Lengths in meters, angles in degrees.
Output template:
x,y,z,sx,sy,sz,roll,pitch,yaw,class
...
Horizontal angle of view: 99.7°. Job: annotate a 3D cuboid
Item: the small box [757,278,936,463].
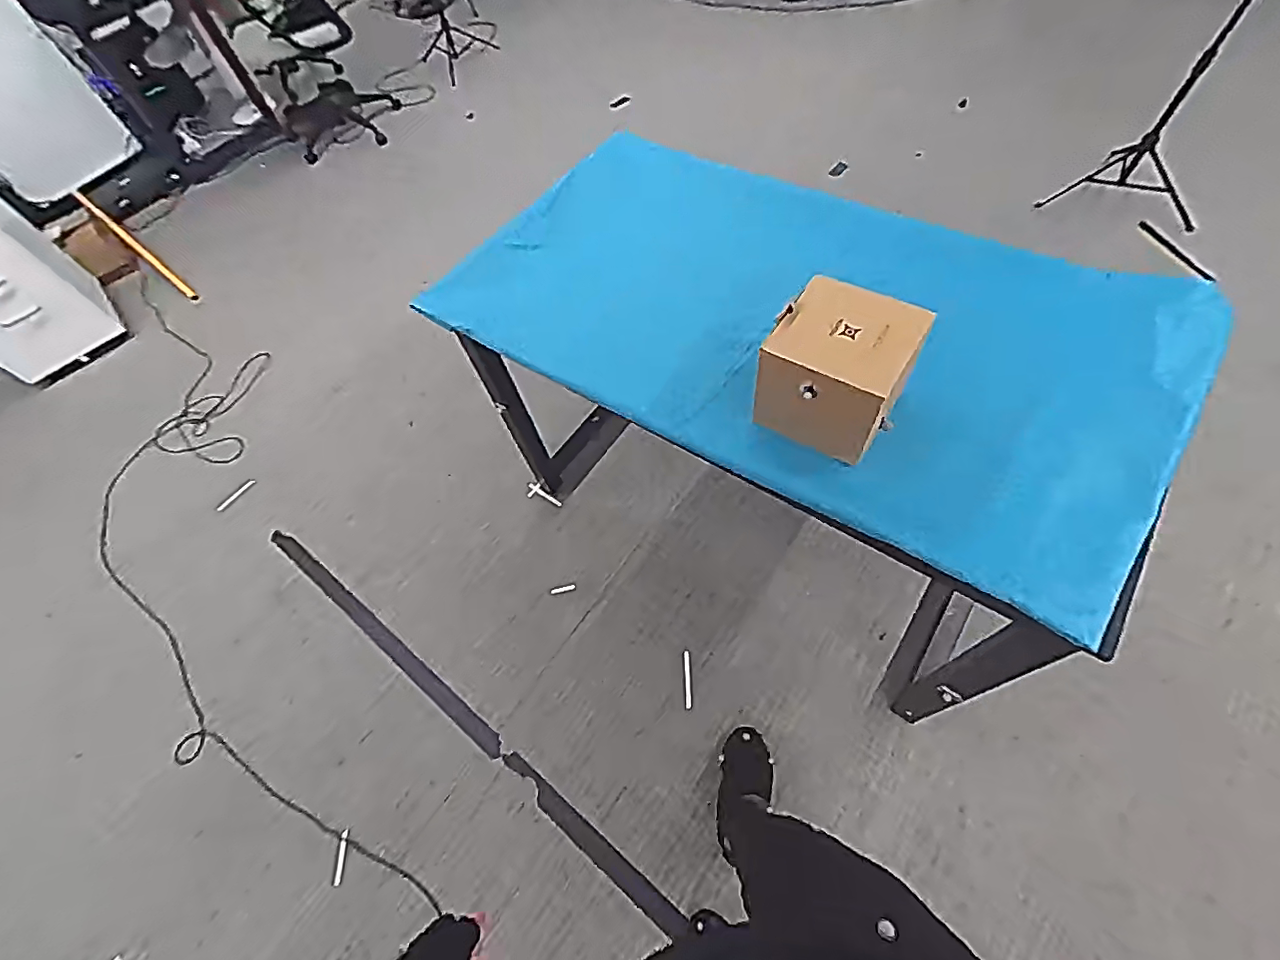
x,y,z,sx,sy,sz,roll,pitch,yaw,class
0.282,-0.152,0.780,0.179,0.176,0.168,29,68,23,small box
